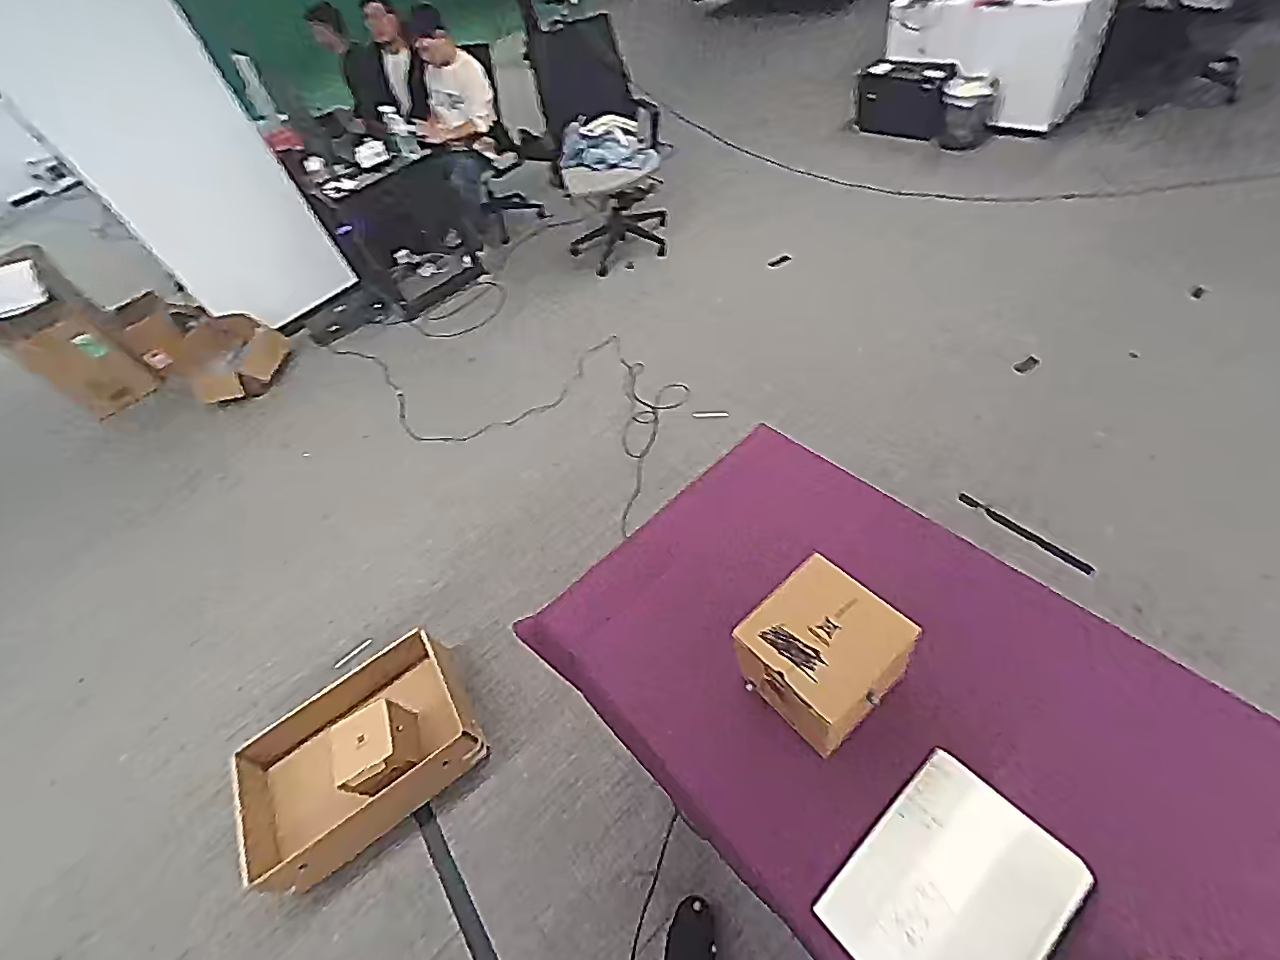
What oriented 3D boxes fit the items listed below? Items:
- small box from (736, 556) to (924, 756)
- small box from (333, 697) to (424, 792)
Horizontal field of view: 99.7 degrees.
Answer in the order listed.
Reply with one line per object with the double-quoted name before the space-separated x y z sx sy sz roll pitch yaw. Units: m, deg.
"small box" 0.259 0.248 0.755 0.179 0.176 0.168 -37 52 -16
"small box" -0.733 0.753 1.527 0.168 0.176 0.179 -27 50 -7
